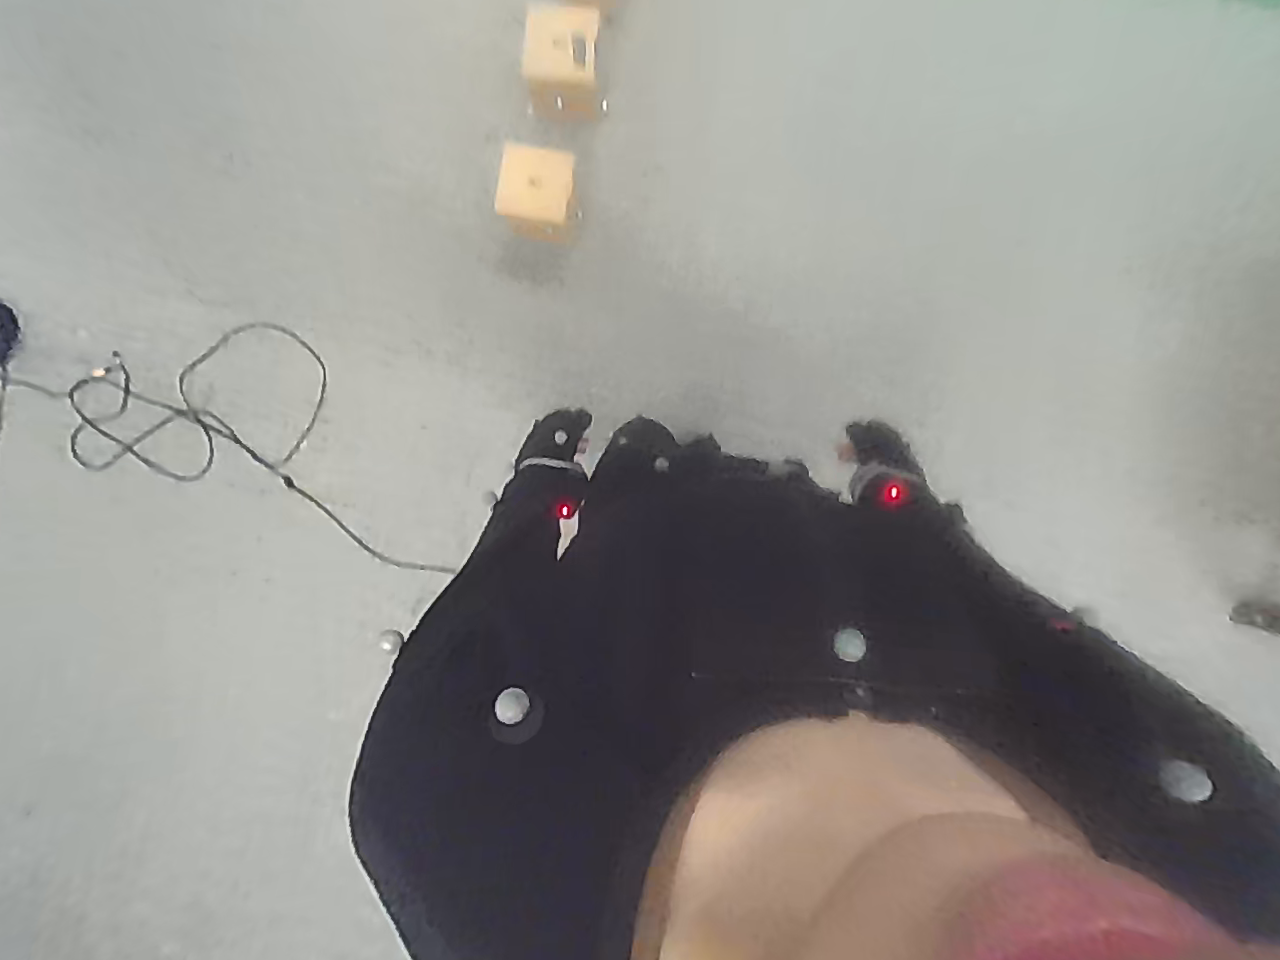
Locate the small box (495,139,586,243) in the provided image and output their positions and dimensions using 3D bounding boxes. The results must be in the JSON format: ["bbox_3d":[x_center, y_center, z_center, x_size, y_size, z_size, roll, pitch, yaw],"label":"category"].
[{"bbox_3d":[-0.245,-0.718,1.360,0.179,0.176,0.168,10,94,2],"label":"small box"}]

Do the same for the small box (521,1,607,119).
[{"bbox_3d":[-0.181,-1.029,1.339,0.179,0.176,0.168,6,93,3],"label":"small box"}]
